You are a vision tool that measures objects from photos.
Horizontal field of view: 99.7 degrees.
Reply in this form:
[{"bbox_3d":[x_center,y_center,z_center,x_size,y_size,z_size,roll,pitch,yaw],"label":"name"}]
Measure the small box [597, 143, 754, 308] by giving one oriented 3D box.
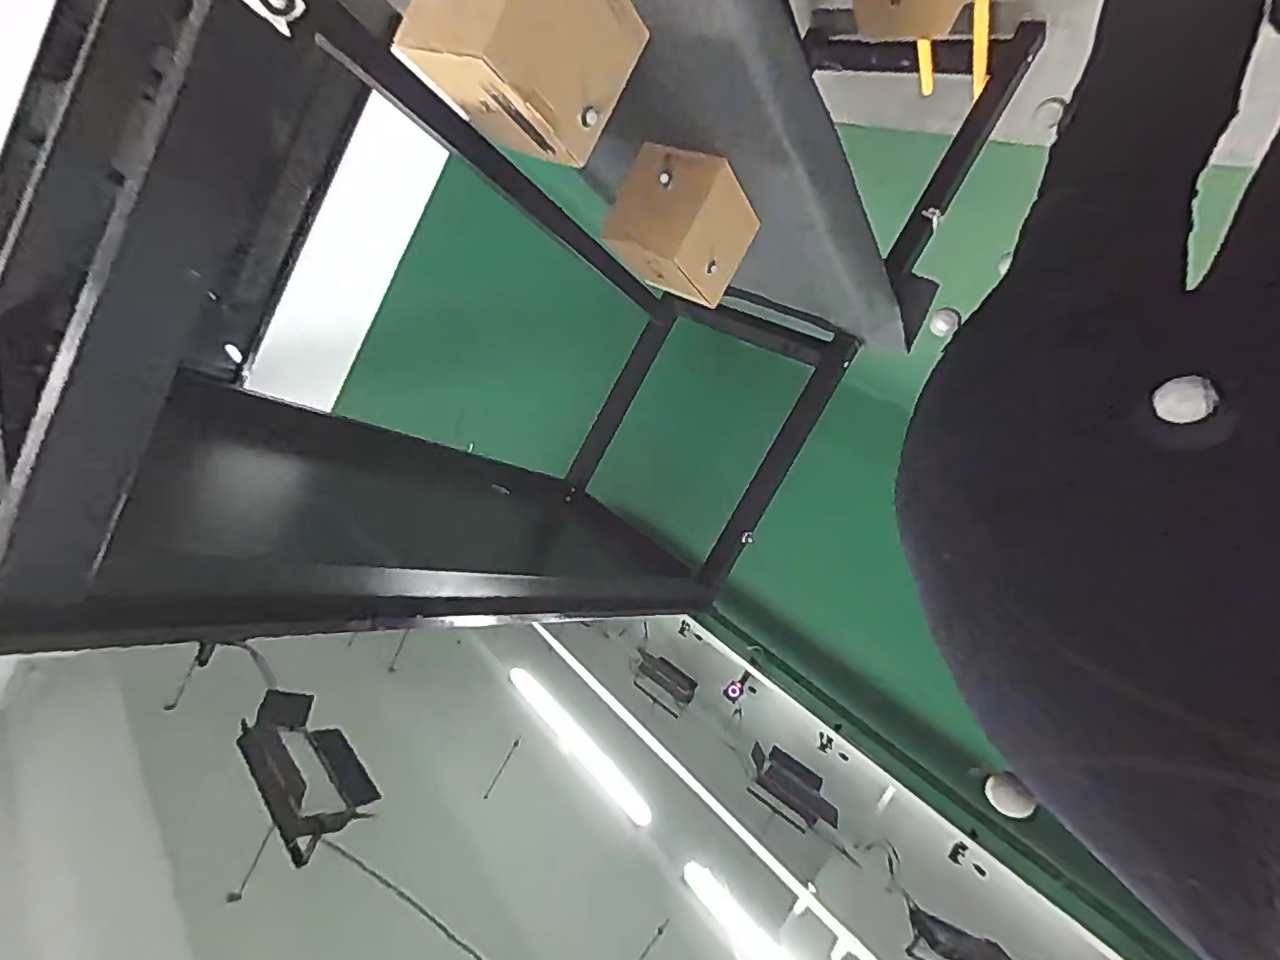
[{"bbox_3d":[0.067,-0.425,0.914,0.168,0.176,0.179,32,-173,30],"label":"small box"}]
